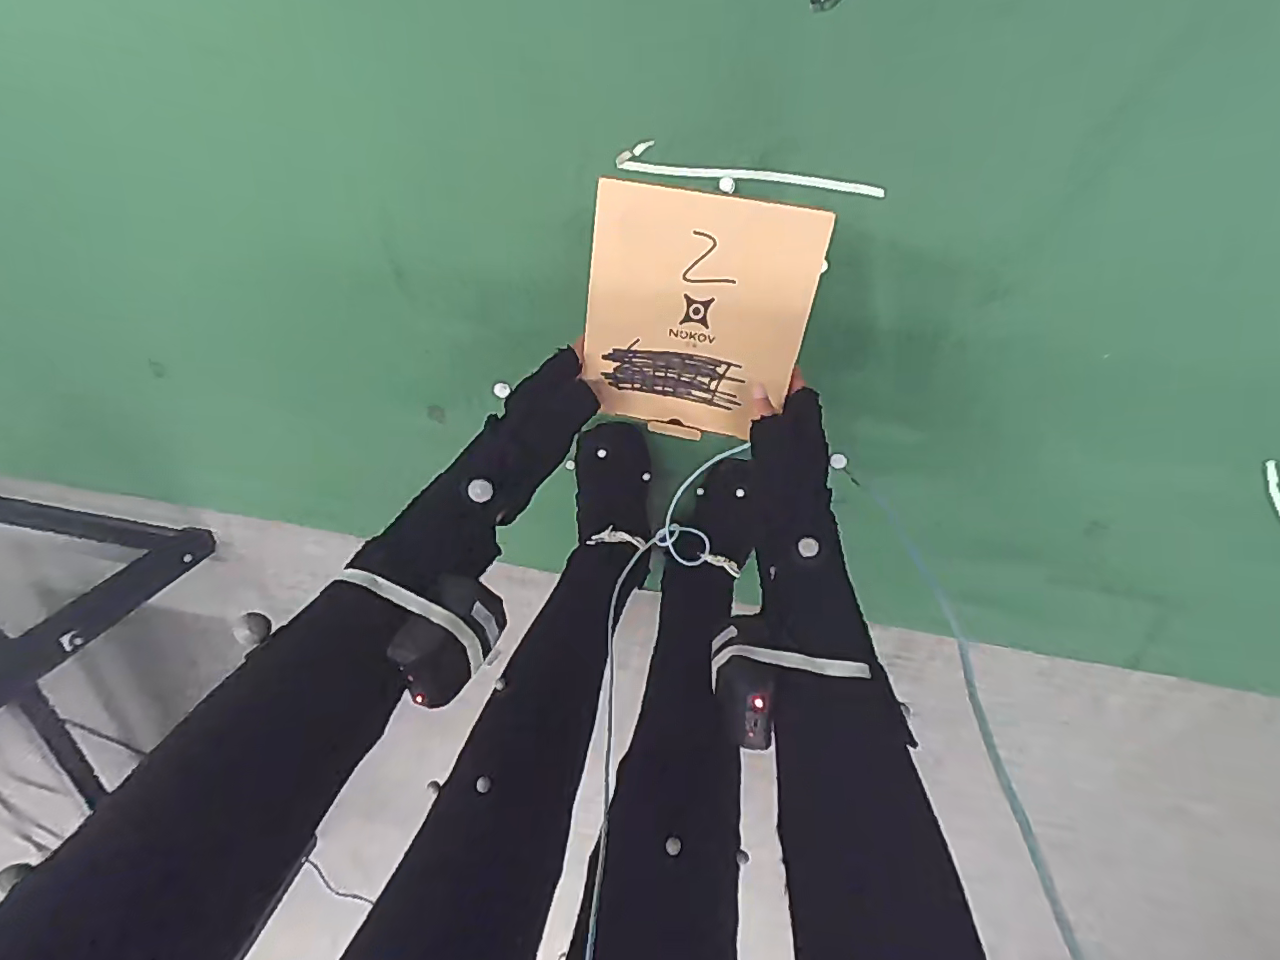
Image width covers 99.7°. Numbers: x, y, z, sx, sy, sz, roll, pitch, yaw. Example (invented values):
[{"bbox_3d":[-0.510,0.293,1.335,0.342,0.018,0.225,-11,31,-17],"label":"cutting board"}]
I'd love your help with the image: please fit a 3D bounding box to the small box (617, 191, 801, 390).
[{"bbox_3d":[0.077,-0.226,0.627,0.168,0.176,0.179,11,119,4],"label":"small box"}]
